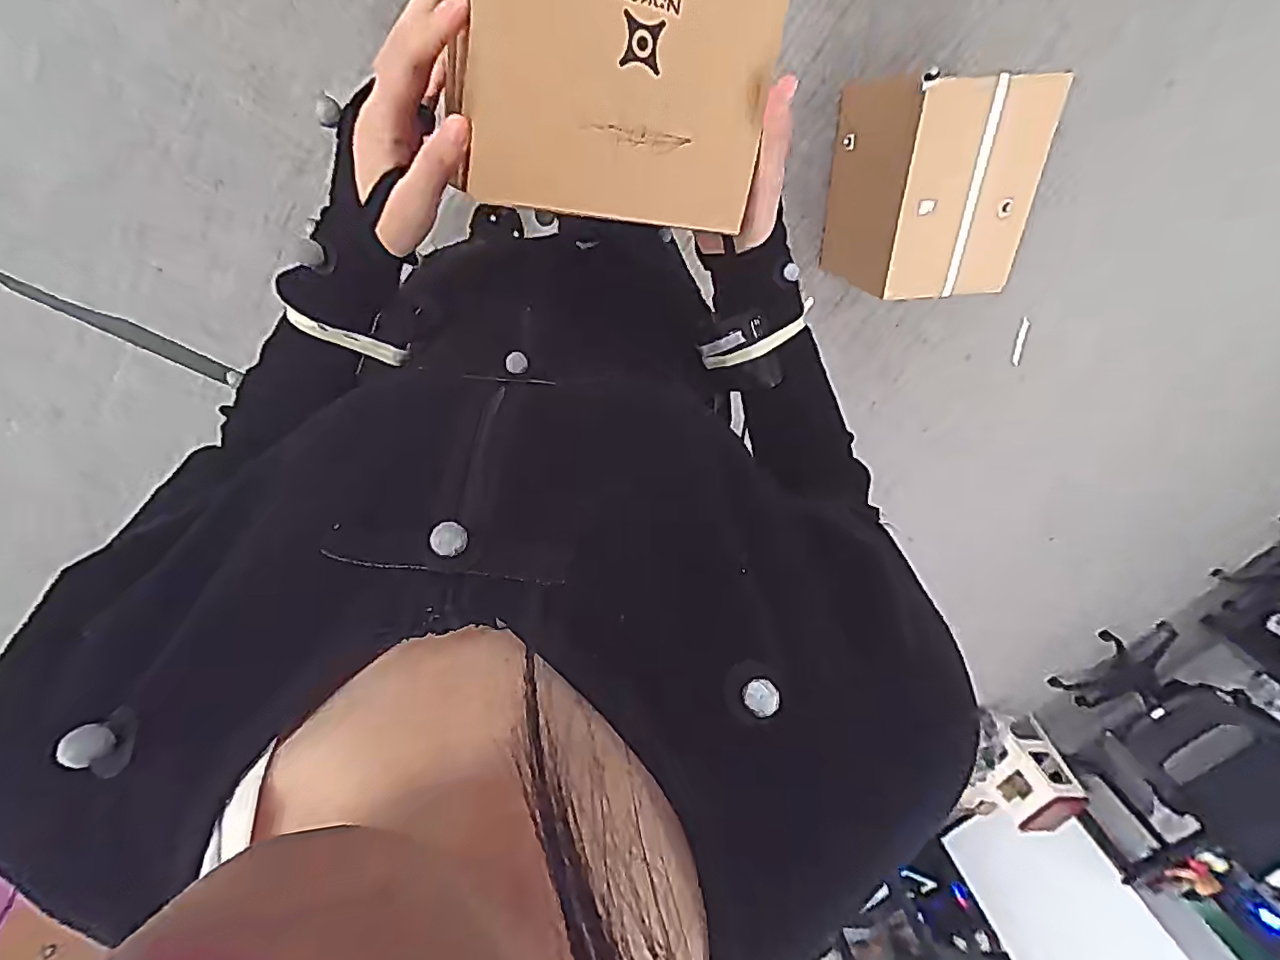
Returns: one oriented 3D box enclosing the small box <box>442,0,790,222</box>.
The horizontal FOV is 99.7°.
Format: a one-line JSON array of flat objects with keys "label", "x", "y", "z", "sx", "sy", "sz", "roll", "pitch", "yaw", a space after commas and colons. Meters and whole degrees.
[{"label": "small box", "x": -0.028, "y": -0.275, "z": 0.335, "sx": 0.168, "sy": 0.176, "sz": 0.179, "roll": -4, "pitch": 121, "yaw": -25}]
